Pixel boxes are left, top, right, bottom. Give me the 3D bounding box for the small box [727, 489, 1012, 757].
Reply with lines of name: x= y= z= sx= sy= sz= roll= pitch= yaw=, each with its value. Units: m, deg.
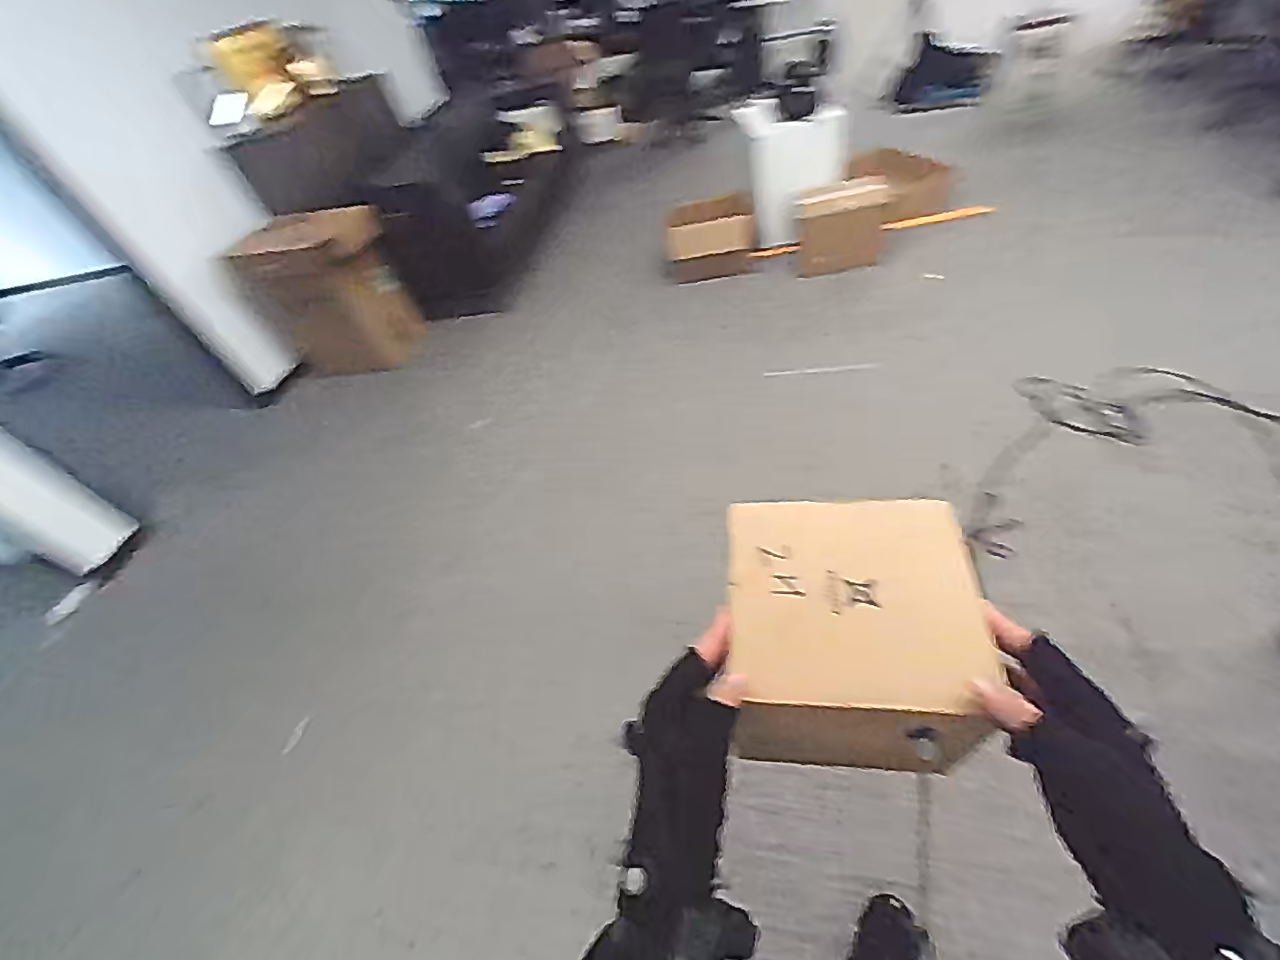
small box: x=0.166 y=0.123 z=0.454 sx=0.179 sy=0.176 sz=0.168 roll=-2 pitch=51 yaw=12
